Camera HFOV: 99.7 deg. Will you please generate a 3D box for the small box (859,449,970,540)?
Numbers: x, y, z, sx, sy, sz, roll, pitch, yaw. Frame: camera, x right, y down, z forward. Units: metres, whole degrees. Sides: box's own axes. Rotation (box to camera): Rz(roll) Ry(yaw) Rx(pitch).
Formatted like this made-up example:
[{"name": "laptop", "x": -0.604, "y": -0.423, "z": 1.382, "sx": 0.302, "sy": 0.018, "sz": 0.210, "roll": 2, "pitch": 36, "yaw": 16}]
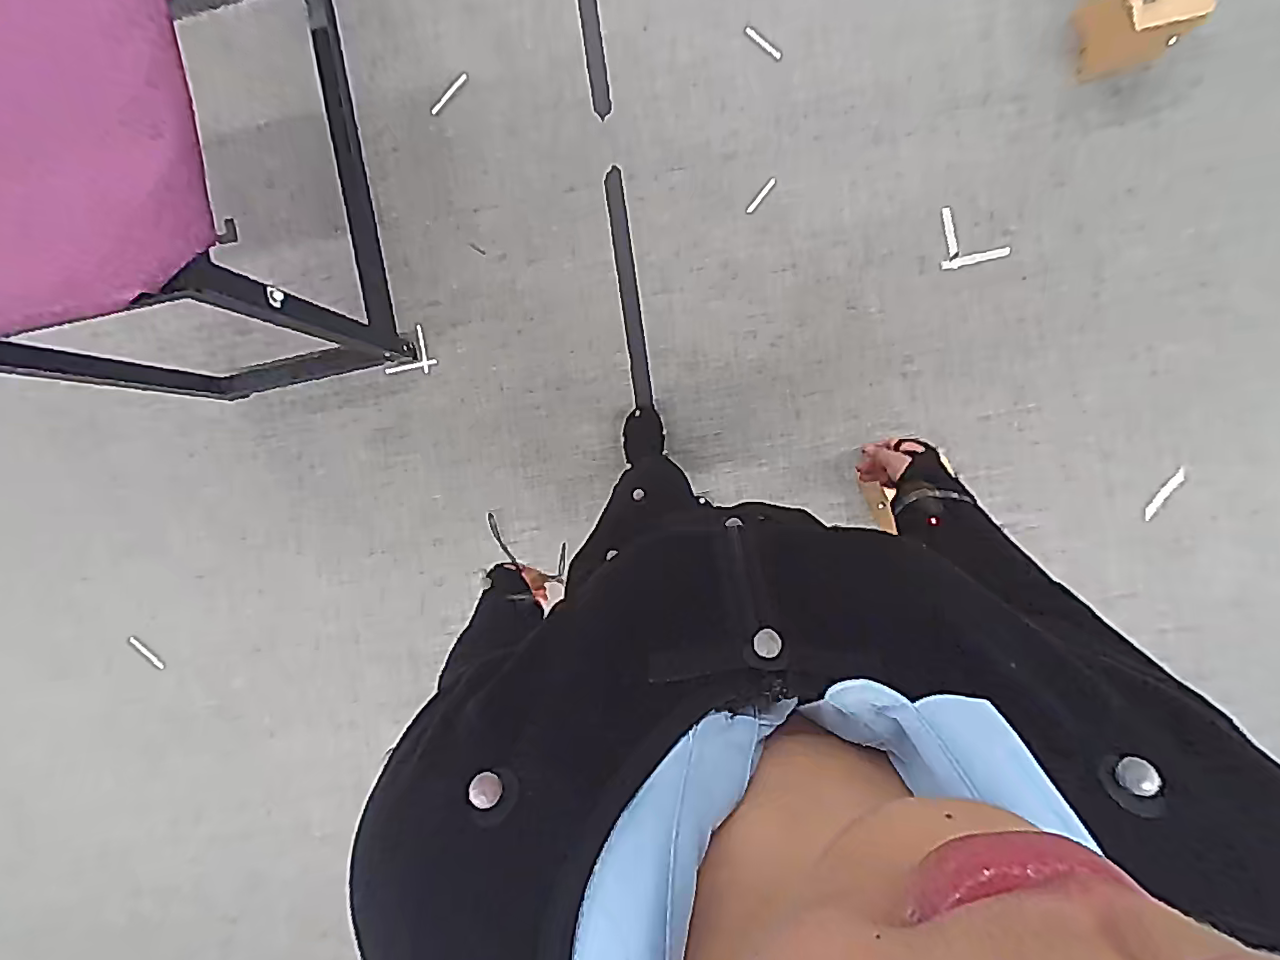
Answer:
[{"name": "small box", "x": 0.686, "y": 0.033, "z": 1.376, "sx": 0.168, "sy": 0.176, "sz": 0.179, "roll": -25, "pitch": 91, "yaw": 4}]
